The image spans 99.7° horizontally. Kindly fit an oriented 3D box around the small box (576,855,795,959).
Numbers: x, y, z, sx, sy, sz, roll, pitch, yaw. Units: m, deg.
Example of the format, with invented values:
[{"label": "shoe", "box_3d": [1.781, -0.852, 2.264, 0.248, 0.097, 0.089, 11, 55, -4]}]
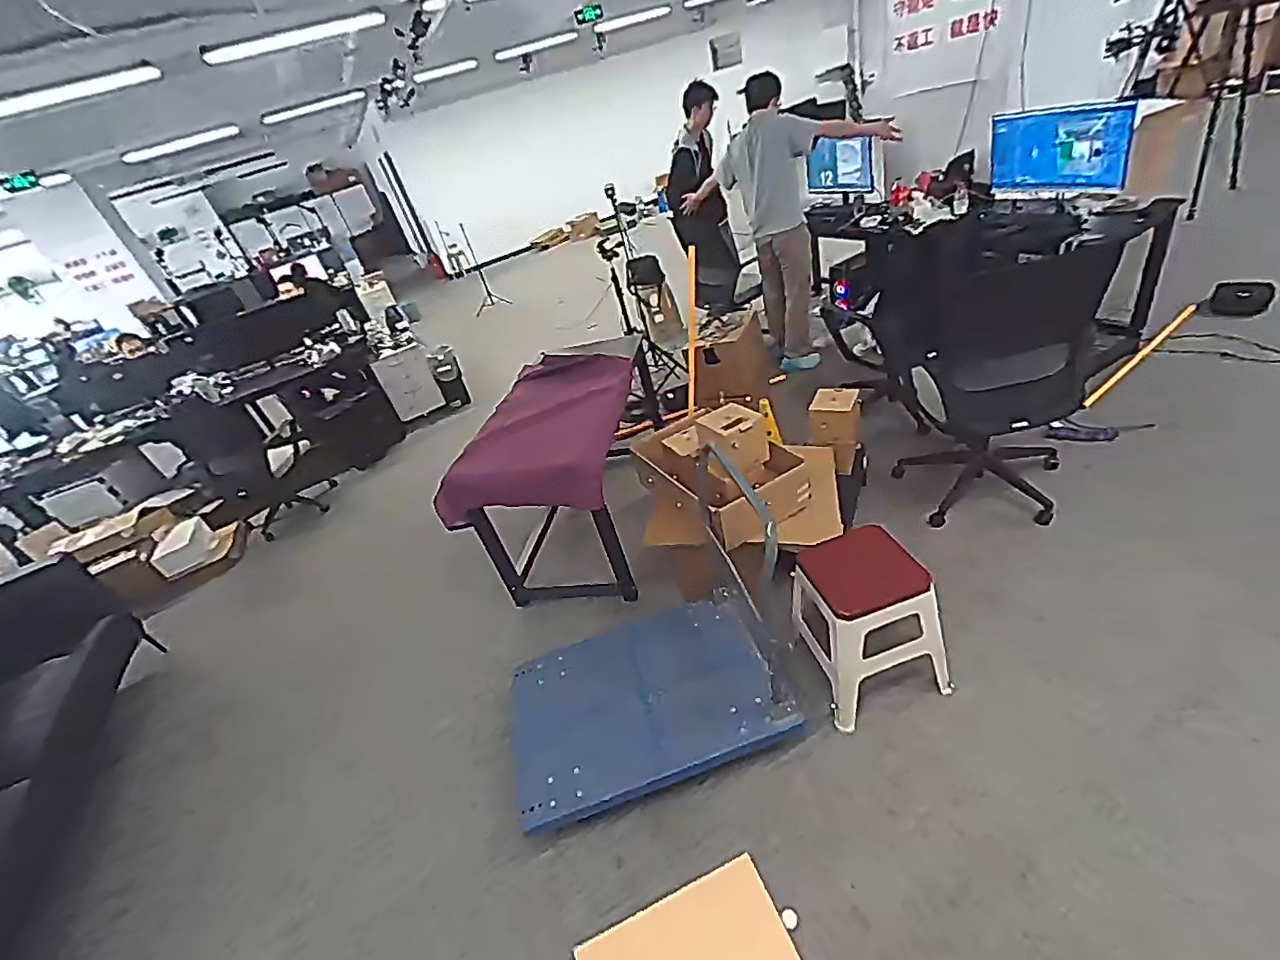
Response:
[{"label": "small box", "box_3d": [0.061, 0.467, 0.446, 0.168, 0.176, 0.179, -21, 37, -10]}]
